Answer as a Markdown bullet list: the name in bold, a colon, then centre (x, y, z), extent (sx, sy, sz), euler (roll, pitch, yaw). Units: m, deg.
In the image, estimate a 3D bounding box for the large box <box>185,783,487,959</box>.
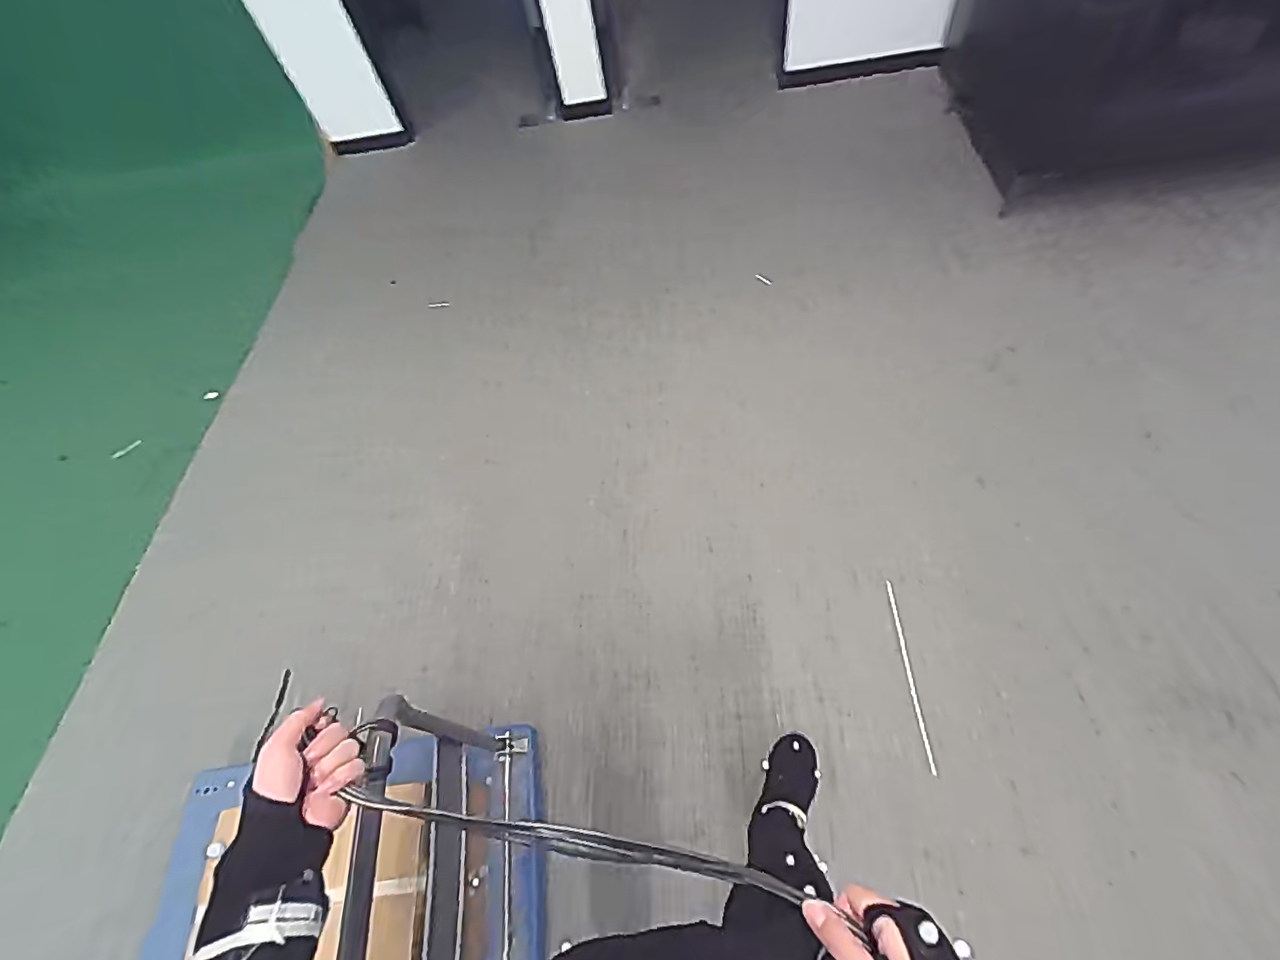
- **large box**: centre (-0.543, 0.791, 1.042), extent (0.408, 0.320, 0.320), euler (-10, 58, 4)
